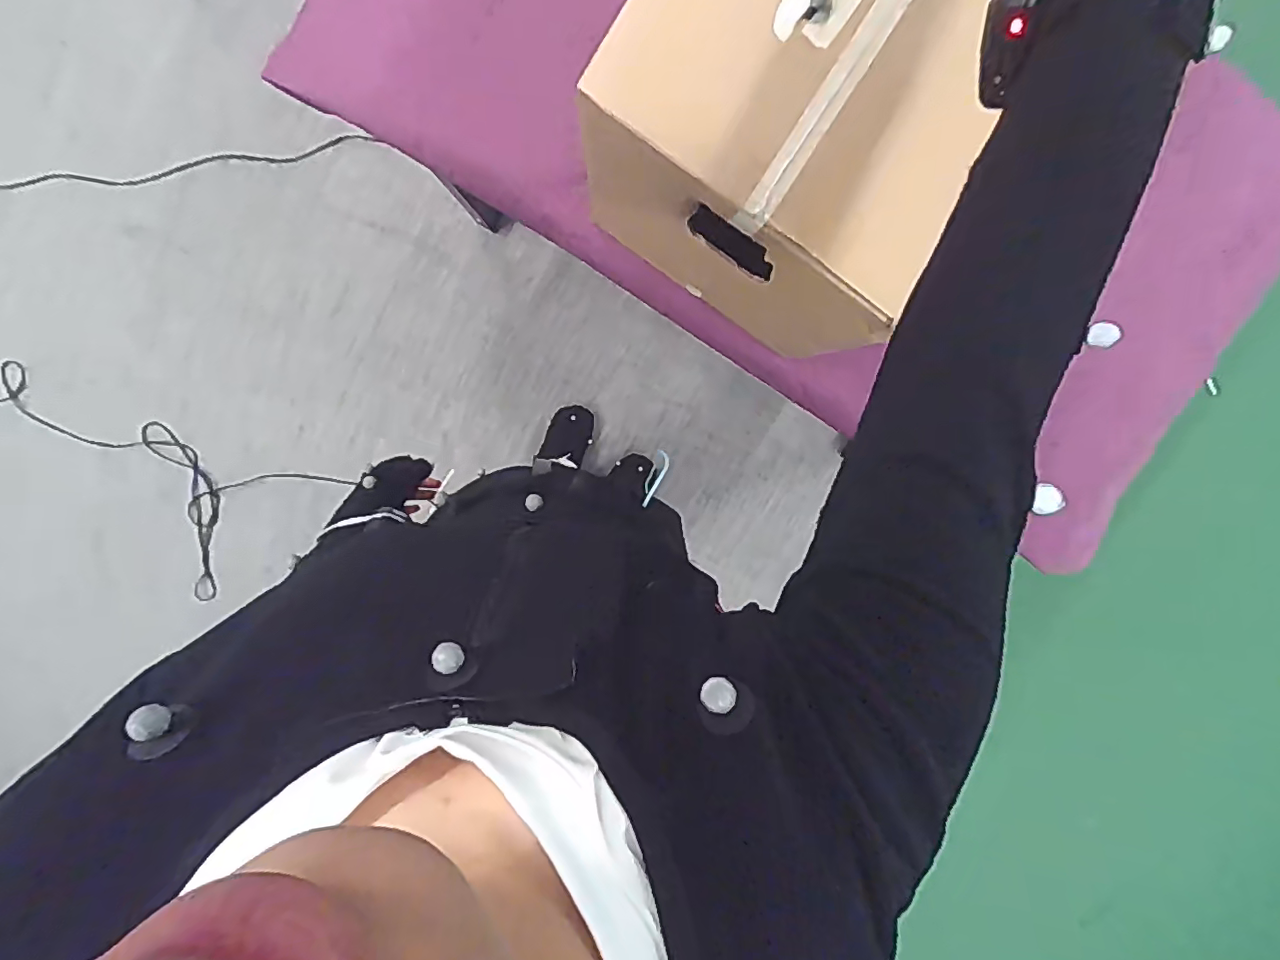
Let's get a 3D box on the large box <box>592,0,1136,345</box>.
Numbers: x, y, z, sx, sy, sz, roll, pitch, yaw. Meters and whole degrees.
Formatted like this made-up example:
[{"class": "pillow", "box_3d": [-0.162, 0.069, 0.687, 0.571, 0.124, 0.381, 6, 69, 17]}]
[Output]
[{"class": "large box", "box_3d": [0.189, -0.396, 0.545, 0.320, 0.320, 0.408, 34, 97, -7]}]
